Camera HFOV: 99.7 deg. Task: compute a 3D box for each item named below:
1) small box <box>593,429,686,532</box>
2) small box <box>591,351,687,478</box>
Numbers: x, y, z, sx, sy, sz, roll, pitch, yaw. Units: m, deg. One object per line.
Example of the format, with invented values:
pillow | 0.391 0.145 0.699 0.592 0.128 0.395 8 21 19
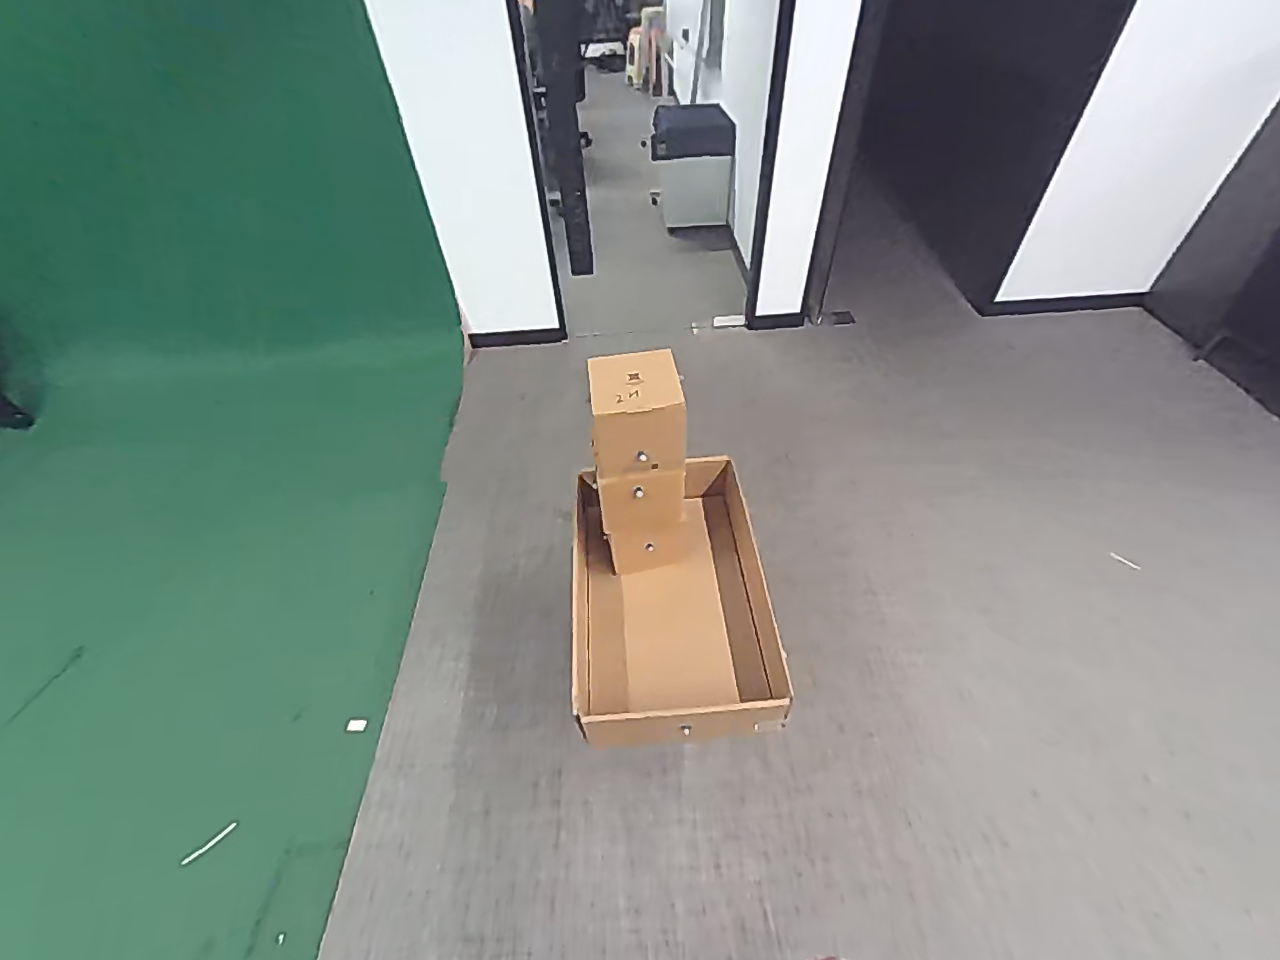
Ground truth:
small box | -0.001 -0.007 1.173 0.179 0.176 0.168 -9 48 -3
small box | -0.003 -0.127 1.059 0.168 0.176 0.179 -7 48 -2
